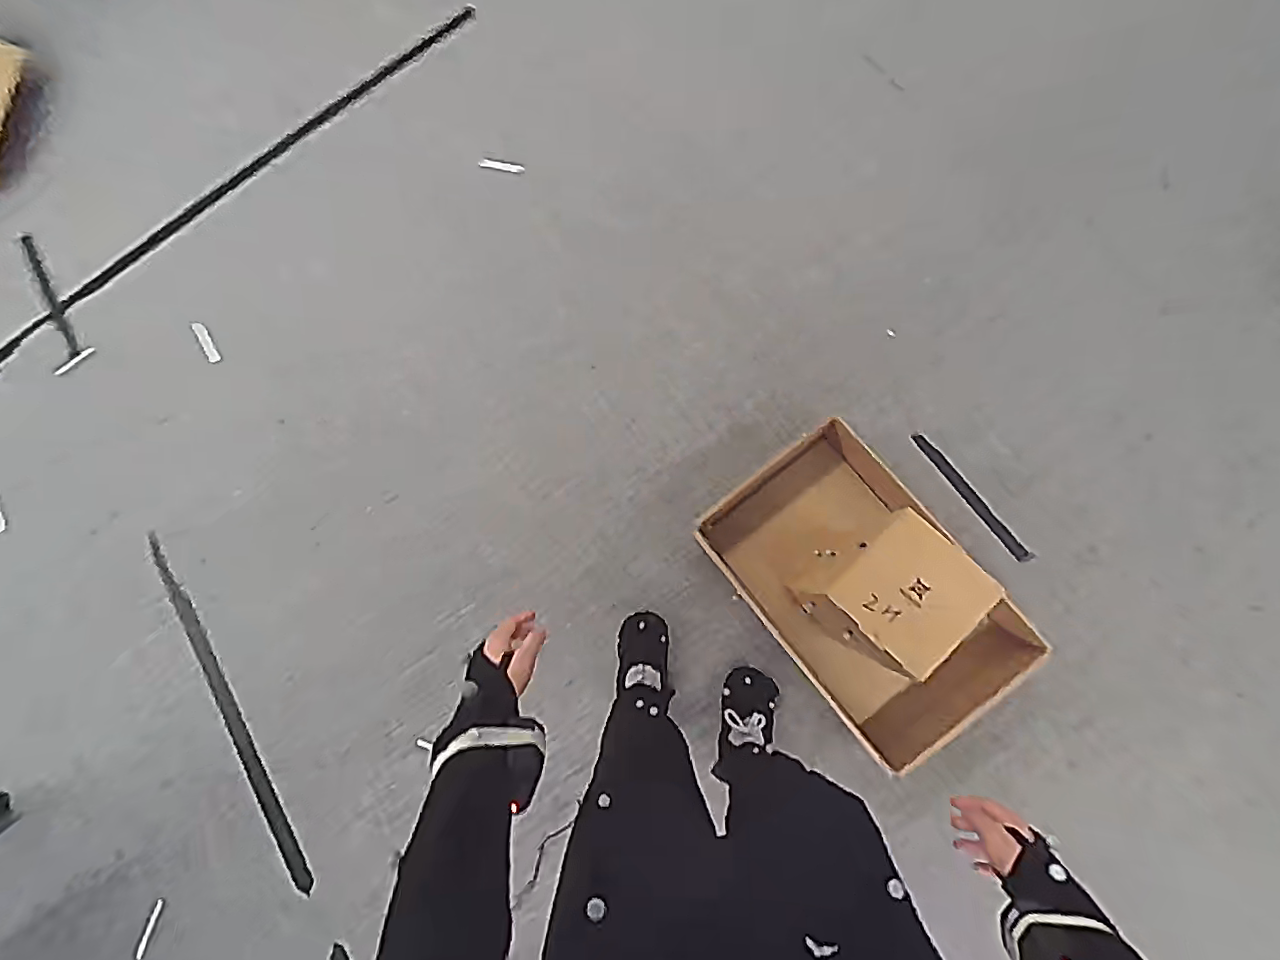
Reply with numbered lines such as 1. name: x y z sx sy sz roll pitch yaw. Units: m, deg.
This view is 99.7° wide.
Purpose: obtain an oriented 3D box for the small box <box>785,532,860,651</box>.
1. small box: 0.429 0.231 1.144 0.179 0.176 0.168 -43 77 0

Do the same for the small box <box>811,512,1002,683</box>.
1. small box: 0.386 0.172 0.823 0.179 0.176 0.168 -45 77 -2
